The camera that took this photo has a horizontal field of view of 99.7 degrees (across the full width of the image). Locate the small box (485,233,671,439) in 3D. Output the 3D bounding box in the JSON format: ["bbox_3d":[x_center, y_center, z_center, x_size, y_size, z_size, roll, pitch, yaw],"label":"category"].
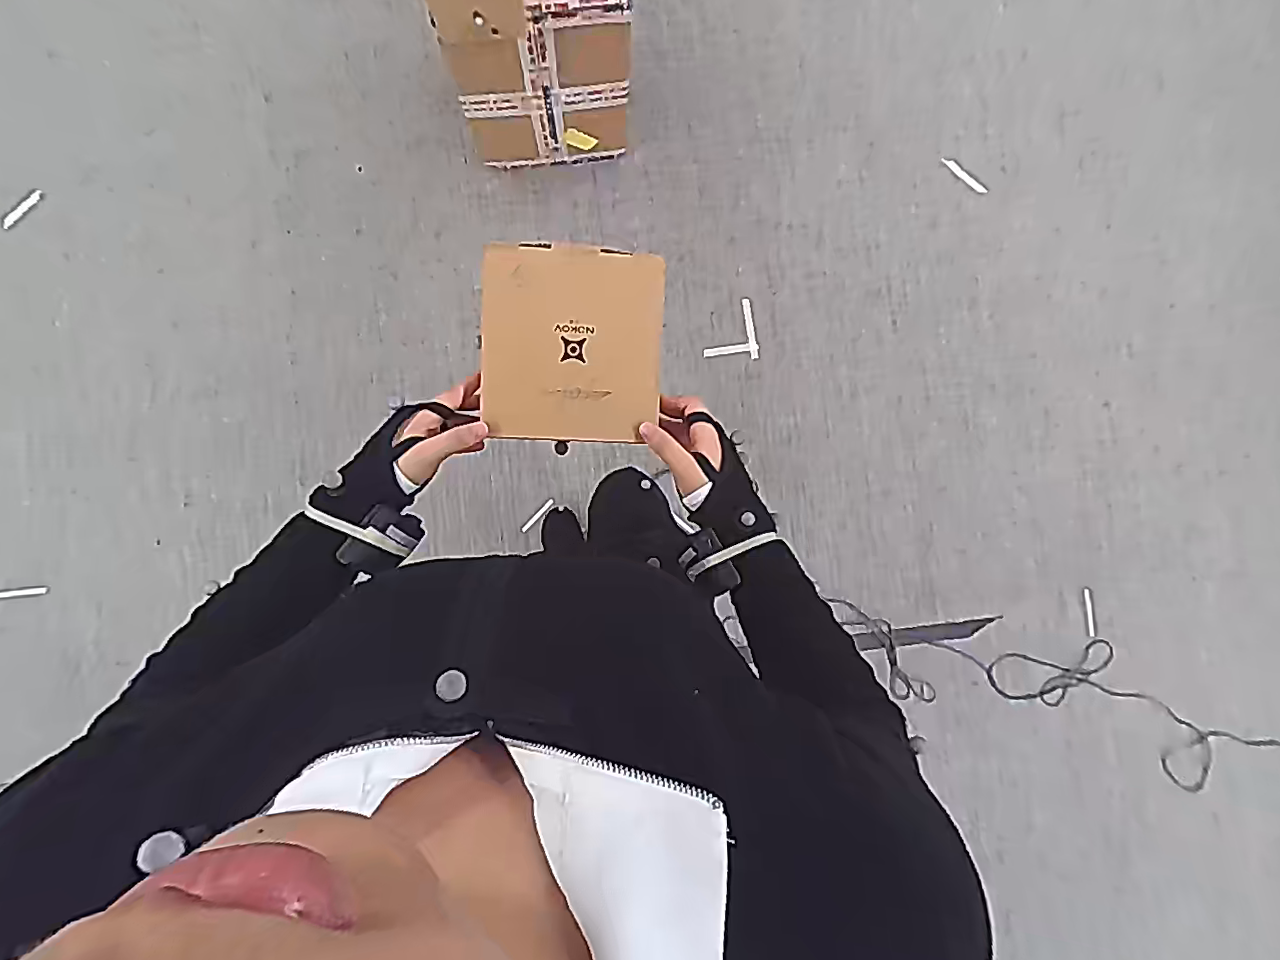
[{"bbox_3d":[-0.065,-0.136,0.573,0.168,0.176,0.179,2,95,-6],"label":"small box"}]
